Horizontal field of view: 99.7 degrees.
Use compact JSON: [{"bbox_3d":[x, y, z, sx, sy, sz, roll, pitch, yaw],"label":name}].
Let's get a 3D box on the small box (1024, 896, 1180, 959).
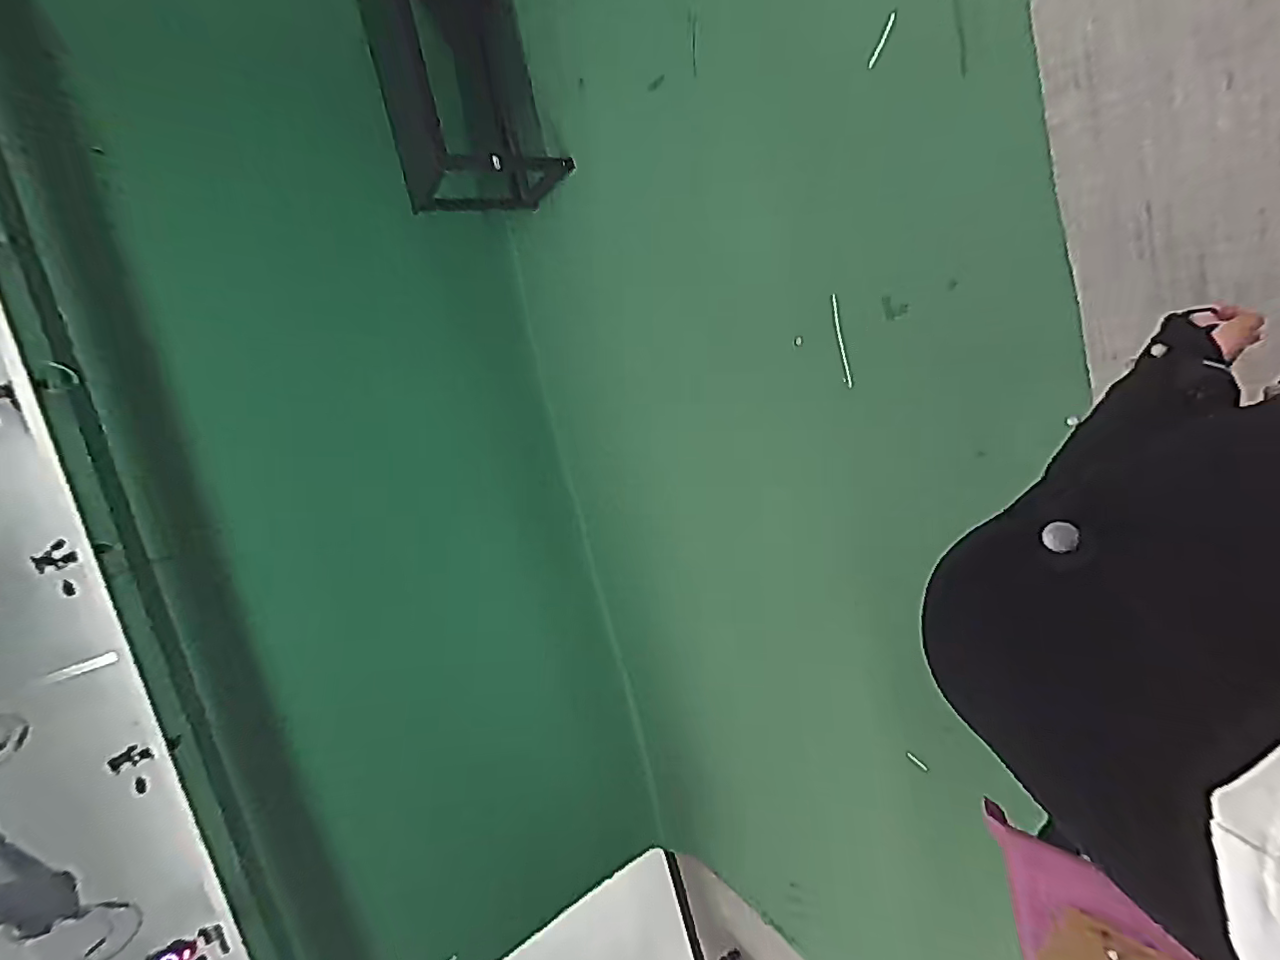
[{"bbox_3d":[0.755,0.839,0.866,0.168,0.176,0.179,-5,102,56],"label":"small box"}]
